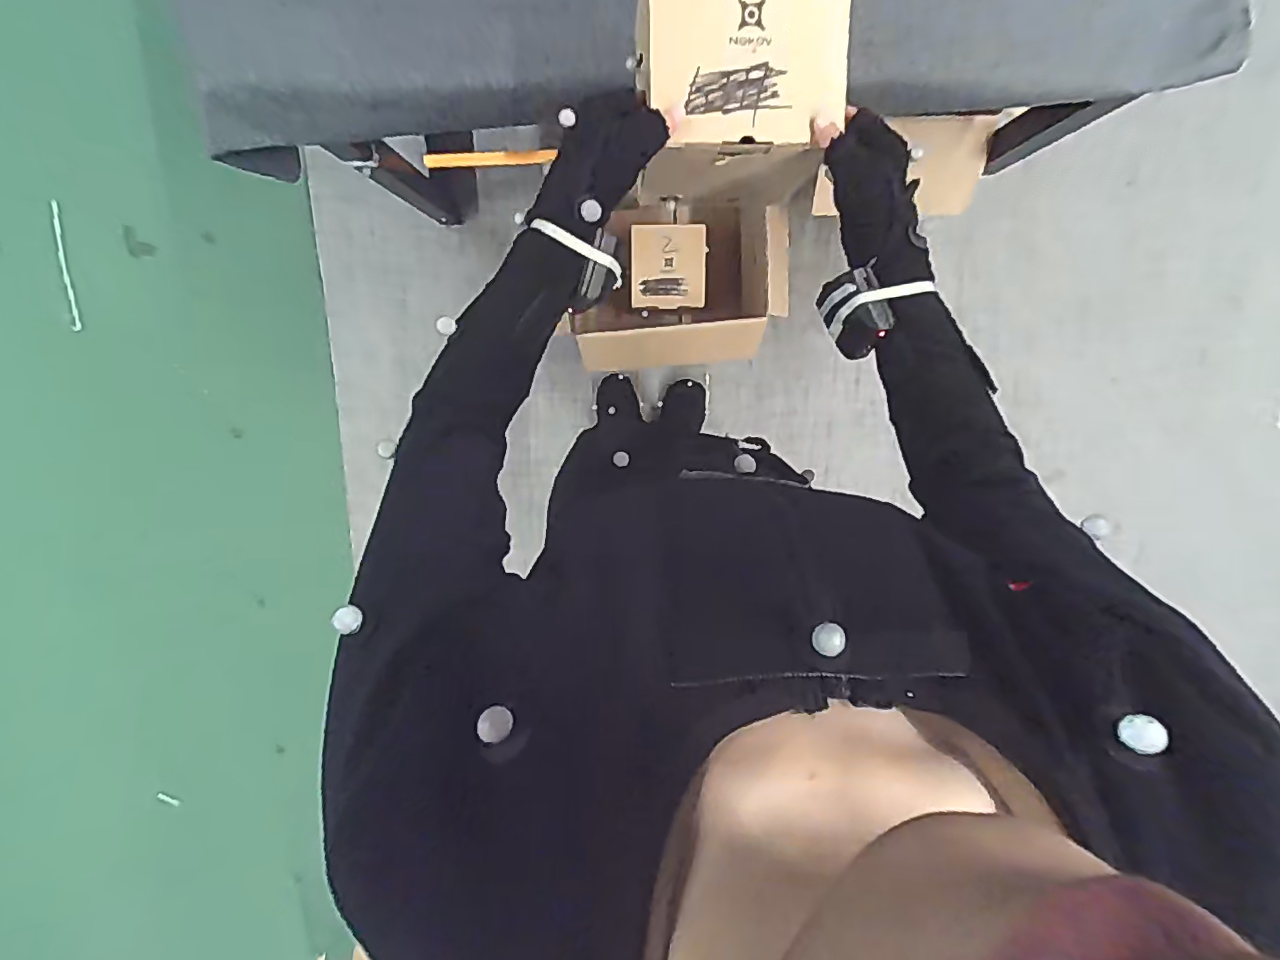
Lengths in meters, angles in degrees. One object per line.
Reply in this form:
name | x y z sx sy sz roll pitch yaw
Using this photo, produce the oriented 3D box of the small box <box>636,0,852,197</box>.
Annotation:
small box | 0.084 -0.382 0.508 0.168 0.176 0.179 -1 101 -4
